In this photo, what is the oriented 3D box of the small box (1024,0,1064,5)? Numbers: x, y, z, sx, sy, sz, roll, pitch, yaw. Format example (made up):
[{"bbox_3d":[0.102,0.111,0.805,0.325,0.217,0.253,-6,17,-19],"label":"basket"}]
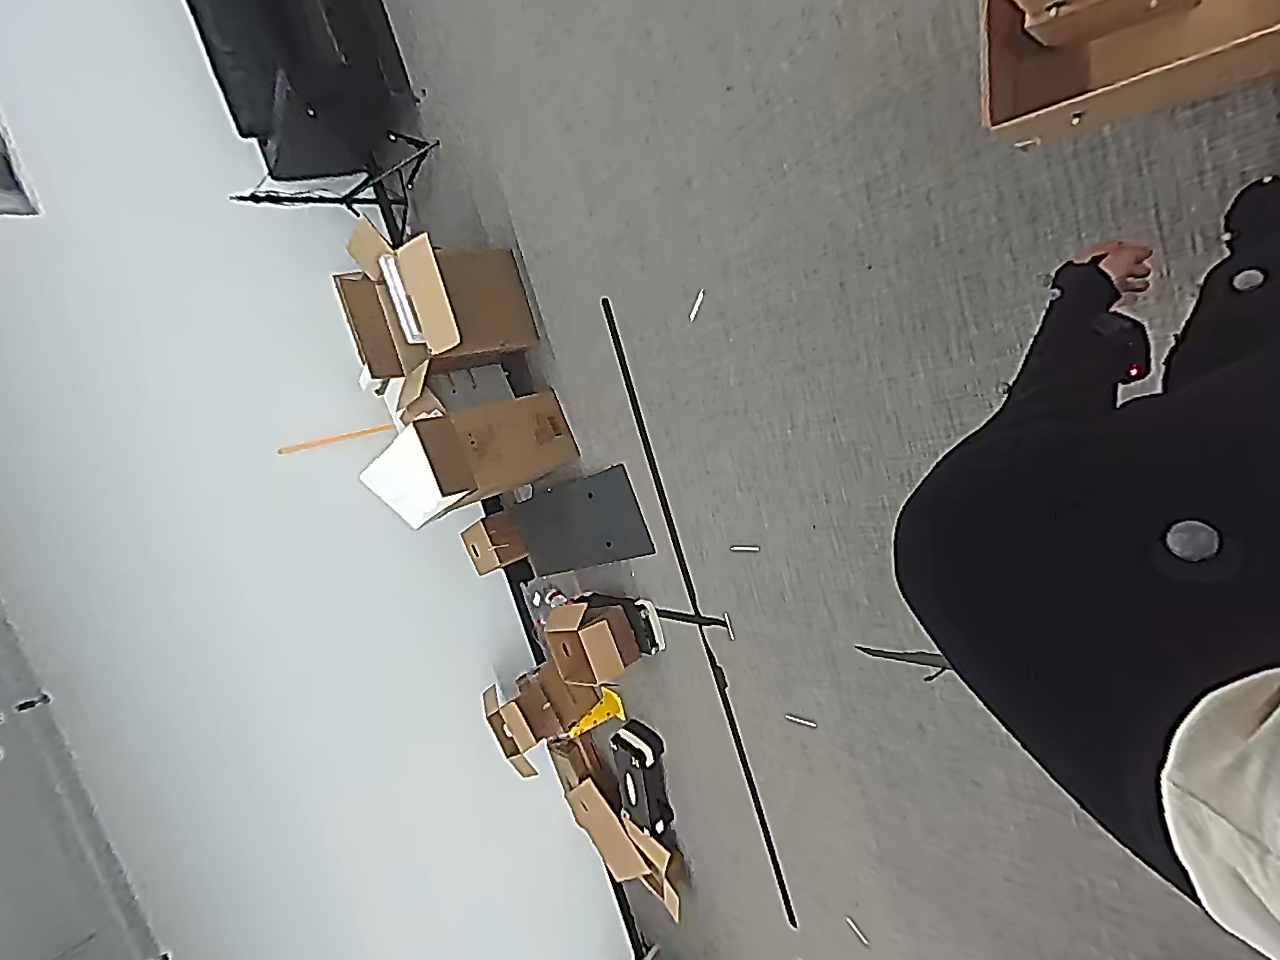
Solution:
[{"bbox_3d":[0.546,-0.702,0.634,0.168,0.176,0.179,16,117,45],"label":"small box"}]
